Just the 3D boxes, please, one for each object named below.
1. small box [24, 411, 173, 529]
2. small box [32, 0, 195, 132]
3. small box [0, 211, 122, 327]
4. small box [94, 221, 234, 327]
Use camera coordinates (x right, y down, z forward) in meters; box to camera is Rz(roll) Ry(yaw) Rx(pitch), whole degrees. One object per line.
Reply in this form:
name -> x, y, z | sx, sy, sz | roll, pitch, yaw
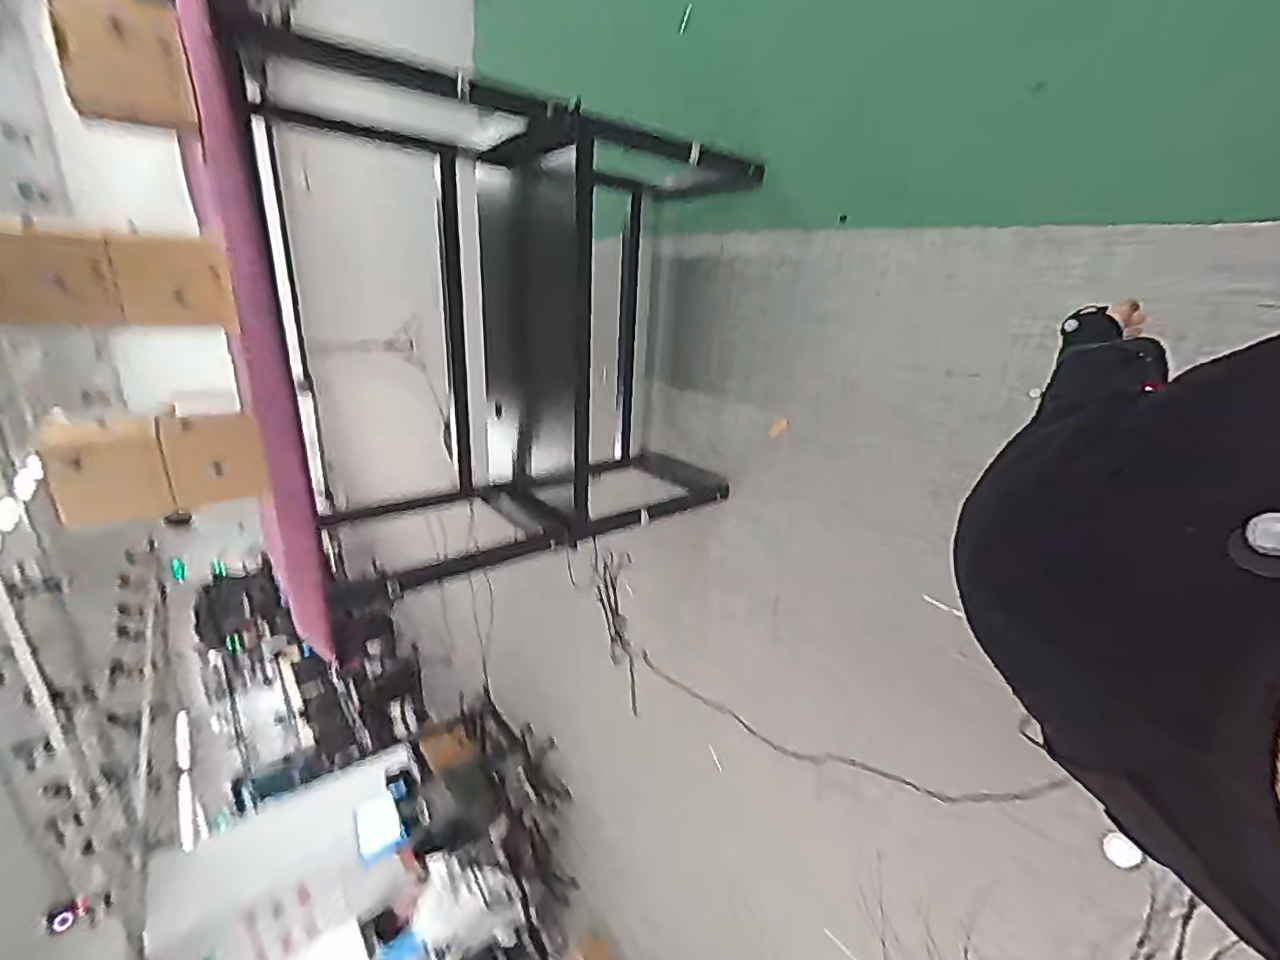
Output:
small box -> -1.053, -0.031, 1.065 | 0.168, 0.176, 0.179 | 29, 122, 45
small box -> -0.884, -0.717, 0.920 | 0.179, 0.176, 0.168 | 24, 119, 49
small box -> -1.025, -0.367, 0.935 | 0.179, 0.176, 0.168 | 33, 125, 44
small box -> -0.894, -0.393, 1.031 | 0.179, 0.176, 0.168 | 33, 125, 45
